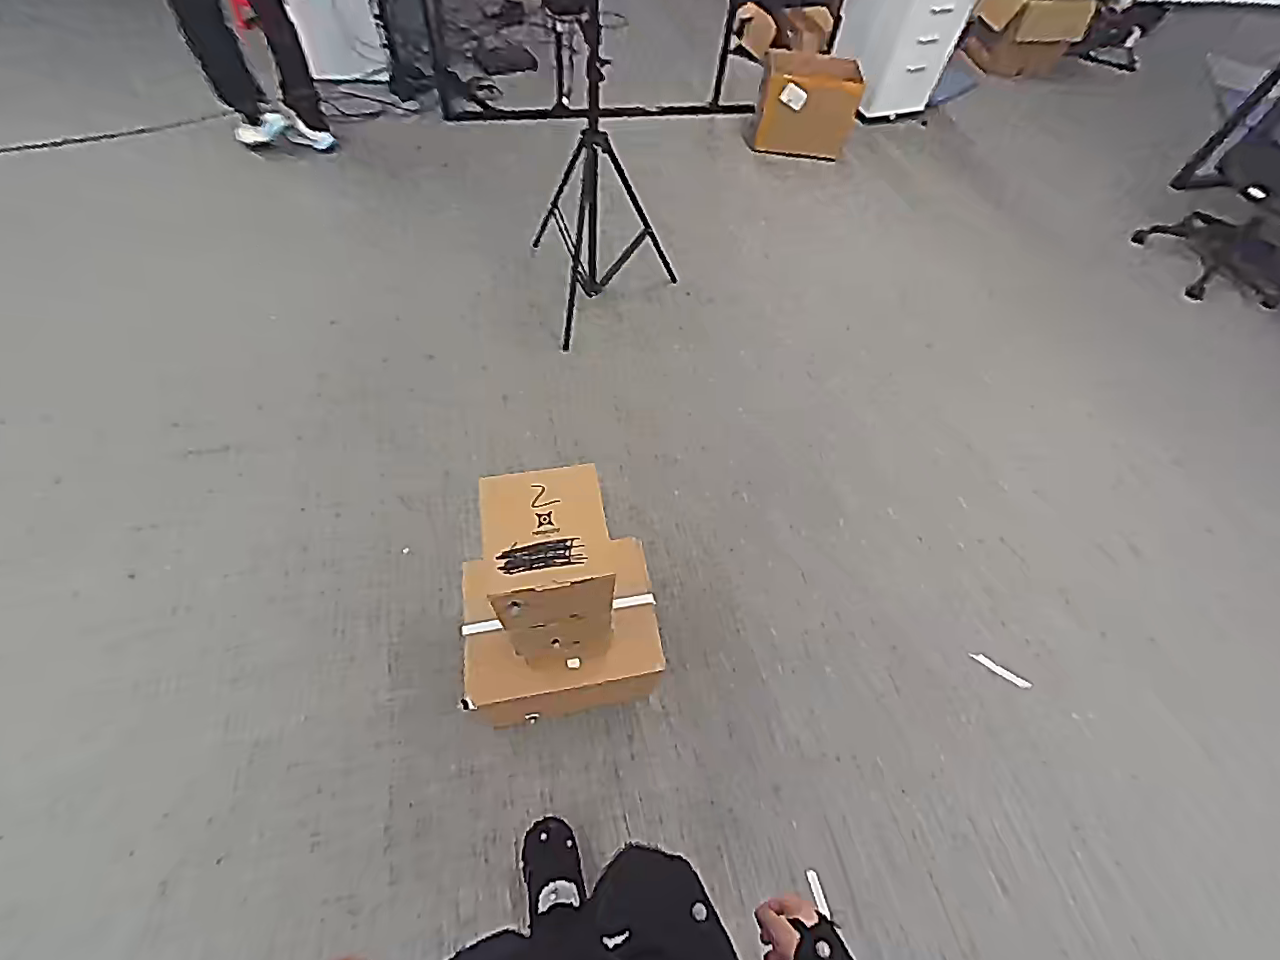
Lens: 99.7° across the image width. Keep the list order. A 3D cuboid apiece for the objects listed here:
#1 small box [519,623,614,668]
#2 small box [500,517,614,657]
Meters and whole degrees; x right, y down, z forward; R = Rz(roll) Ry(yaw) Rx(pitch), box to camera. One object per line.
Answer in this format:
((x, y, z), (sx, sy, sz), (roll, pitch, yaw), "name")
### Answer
((-0.155, 0.263, 1.079), (0.179, 0.176, 0.168), (-9, 61, -12), "small box")
((-0.144, 0.187, 0.935), (0.168, 0.176, 0.179), (-9, 62, -11), "small box")
